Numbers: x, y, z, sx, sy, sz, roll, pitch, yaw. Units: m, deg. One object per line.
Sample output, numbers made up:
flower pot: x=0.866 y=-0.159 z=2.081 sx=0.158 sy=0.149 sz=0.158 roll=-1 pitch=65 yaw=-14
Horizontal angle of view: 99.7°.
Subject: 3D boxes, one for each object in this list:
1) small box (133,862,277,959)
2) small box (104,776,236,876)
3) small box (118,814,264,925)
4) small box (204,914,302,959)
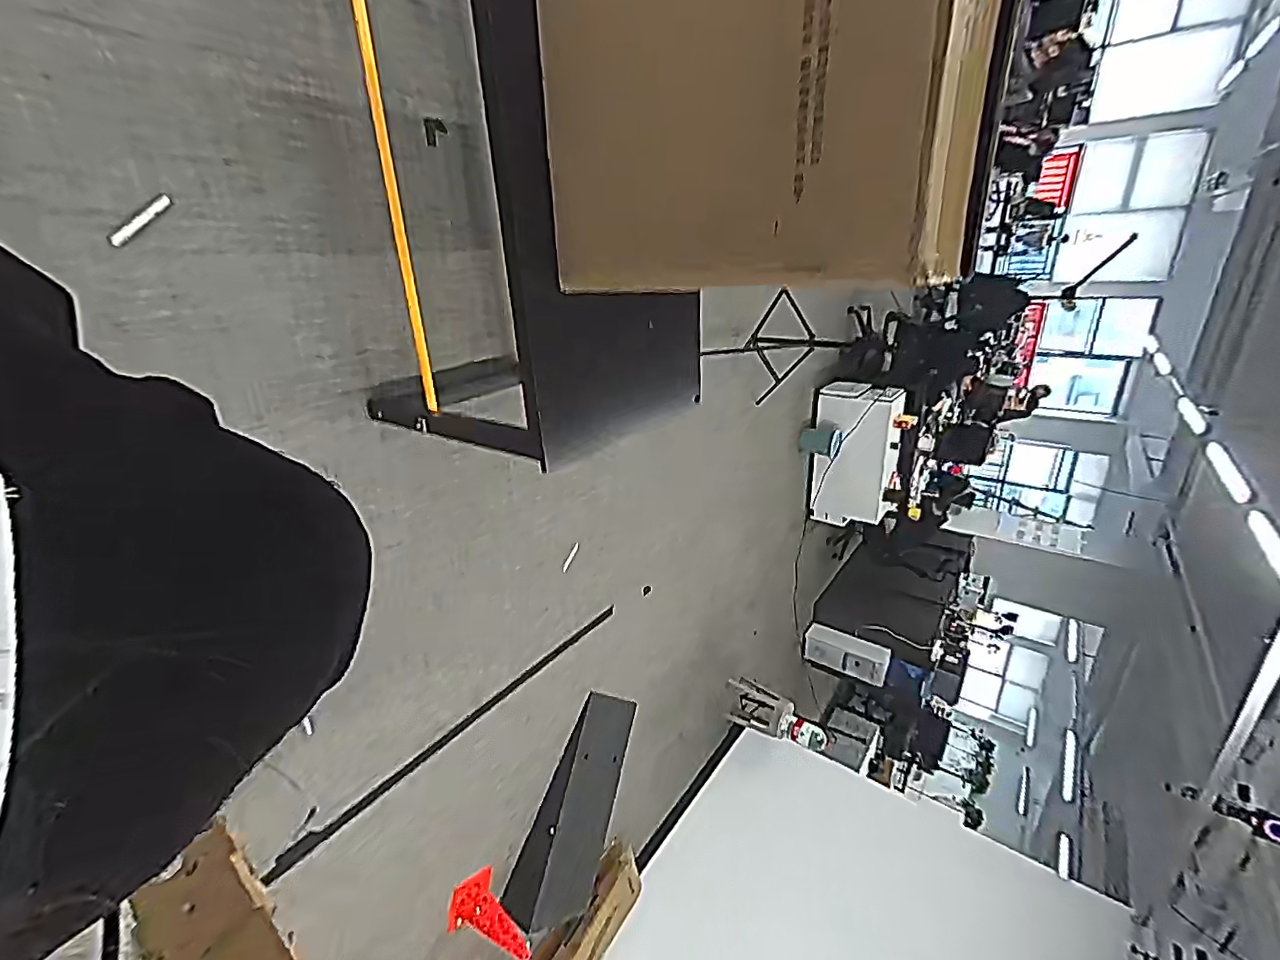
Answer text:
small box: x=-0.841 y=0.908 z=1.067 sx=0.168 sy=0.176 sz=0.179 roll=-38 pitch=130 yaw=-43
small box: x=-1.095 y=0.841 z=1.265 sx=0.168 sy=0.176 sz=0.179 roll=-36 pitch=128 yaw=-44
small box: x=-0.967 y=0.877 z=1.169 sx=0.179 sy=0.176 sz=0.168 roll=-33 pitch=127 yaw=-44
small box: x=-0.708 y=0.945 z=0.979 sx=0.168 sy=0.176 sz=0.179 roll=-37 pitch=129 yaw=-43
